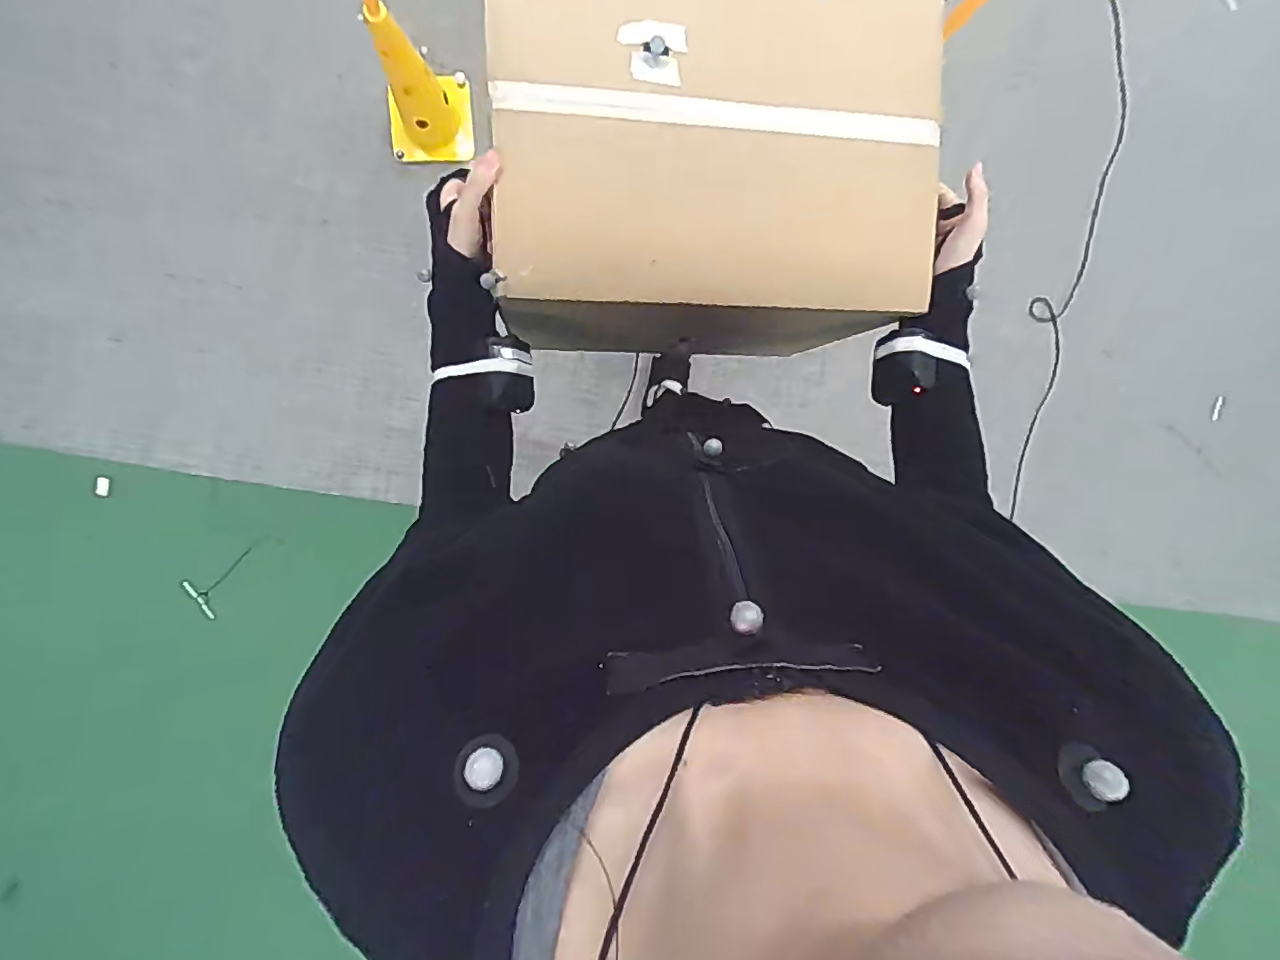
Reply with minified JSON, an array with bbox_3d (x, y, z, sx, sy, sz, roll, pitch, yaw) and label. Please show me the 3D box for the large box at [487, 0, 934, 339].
[{"bbox_3d":[0.052,-0.337,0.623,0.408,0.320,0.320,-1,96,-8],"label":"large box"}]
